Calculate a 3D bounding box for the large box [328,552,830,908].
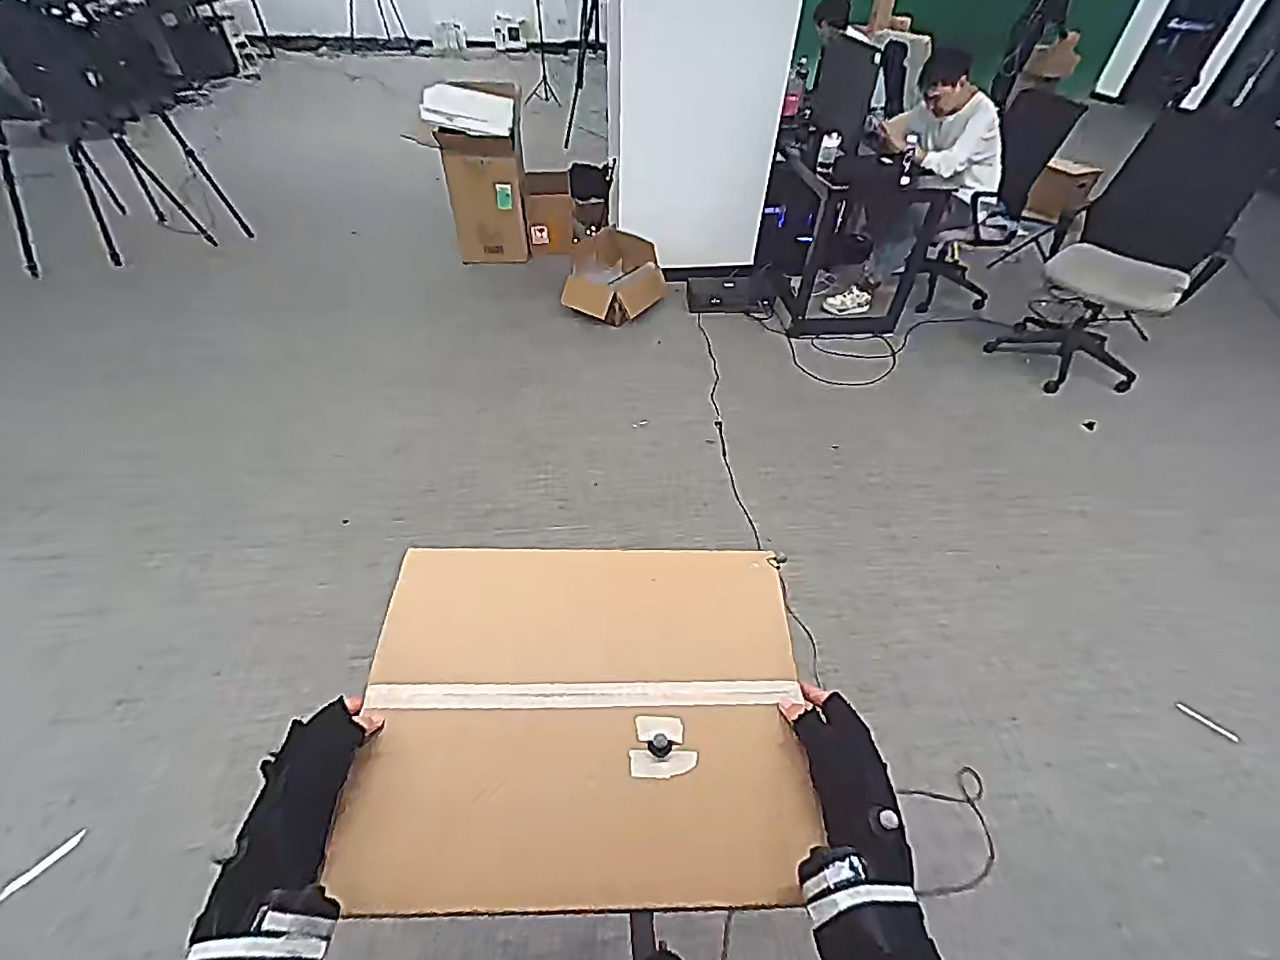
[{"bbox_3d":[-0.055,0.295,0.630,0.408,0.320,0.320,1,52,-3],"label":"large box"}]
